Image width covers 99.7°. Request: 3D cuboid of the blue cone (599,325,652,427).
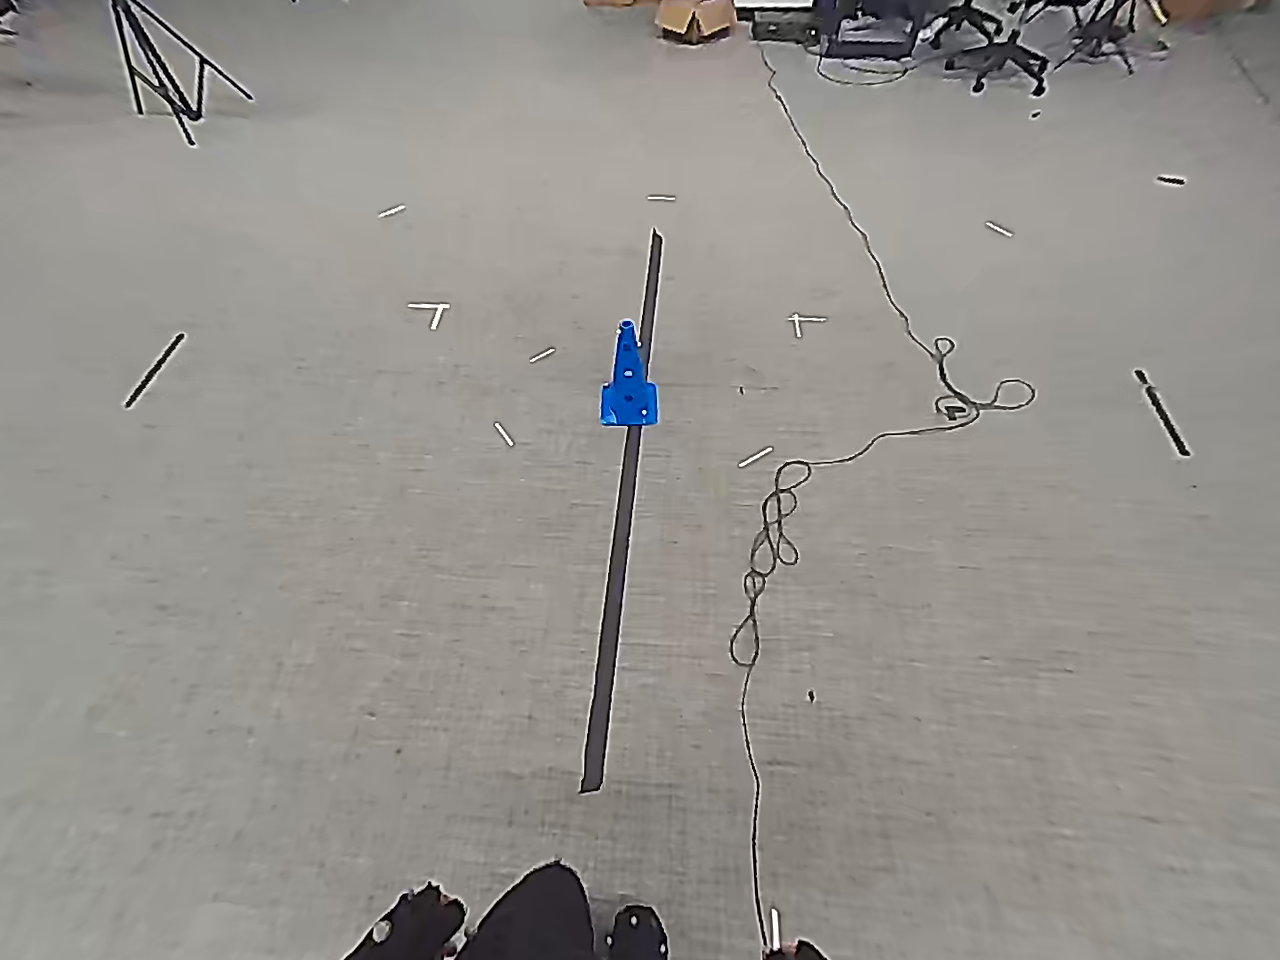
[{"bbox_3d":[-0.053,-0.357,1.805,0.192,0.380,0.193,1,55,1],"label":"blue cone"}]
